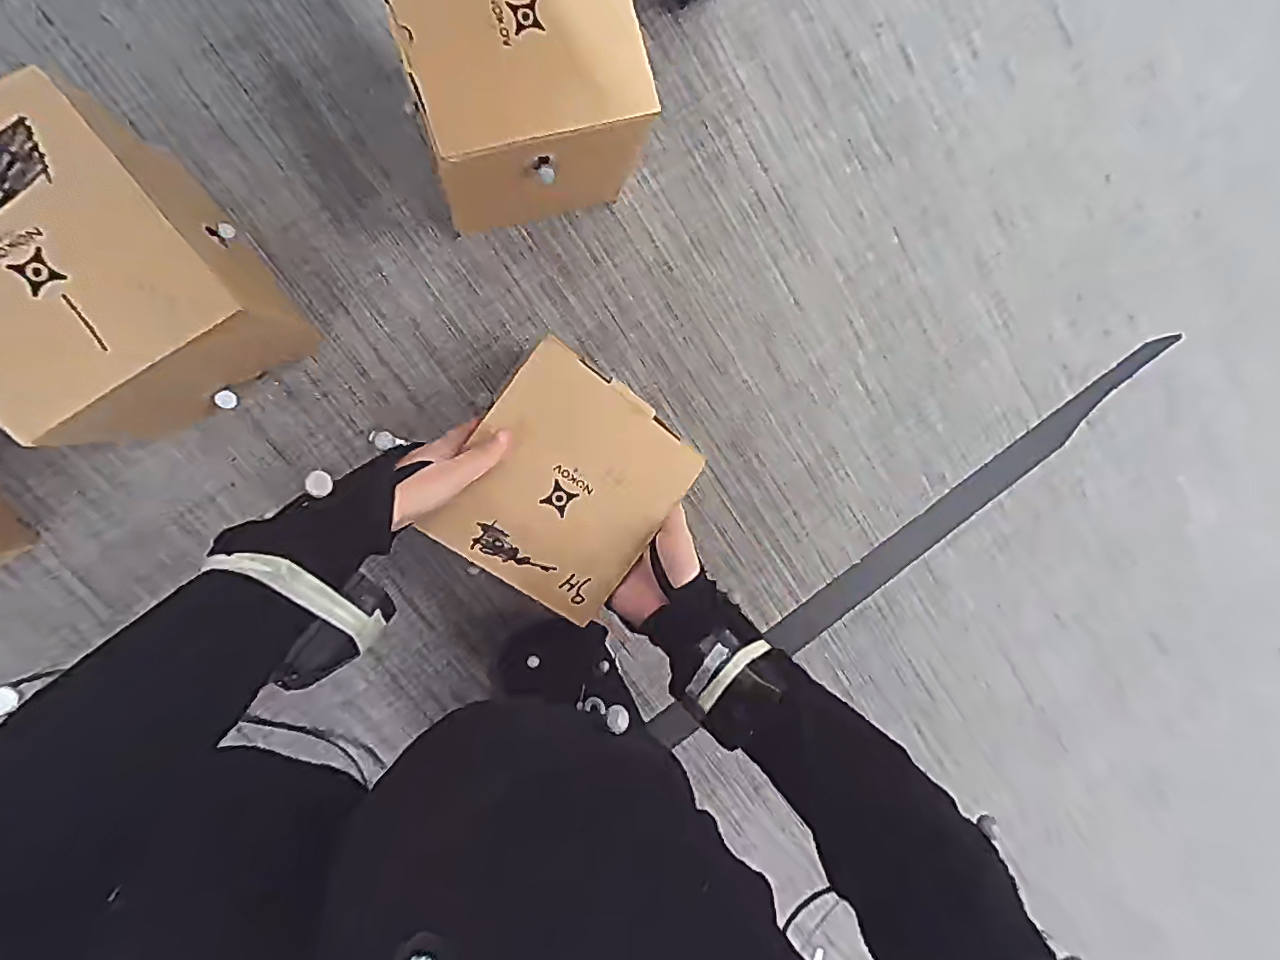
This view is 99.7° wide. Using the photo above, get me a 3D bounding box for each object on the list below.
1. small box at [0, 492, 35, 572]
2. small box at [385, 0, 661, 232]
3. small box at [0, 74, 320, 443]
[{"bbox_3d":[-0.634,0.047,0.387,0.179,0.176,0.168,-34,103,-8],"label":"small box"},{"bbox_3d":[-0.102,-0.338,0.466,0.179,0.176,0.168,-19,100,-9],"label":"small box"},{"bbox_3d":[-0.398,-0.144,0.418,0.168,0.176,0.179,-37,103,-6],"label":"small box"}]
